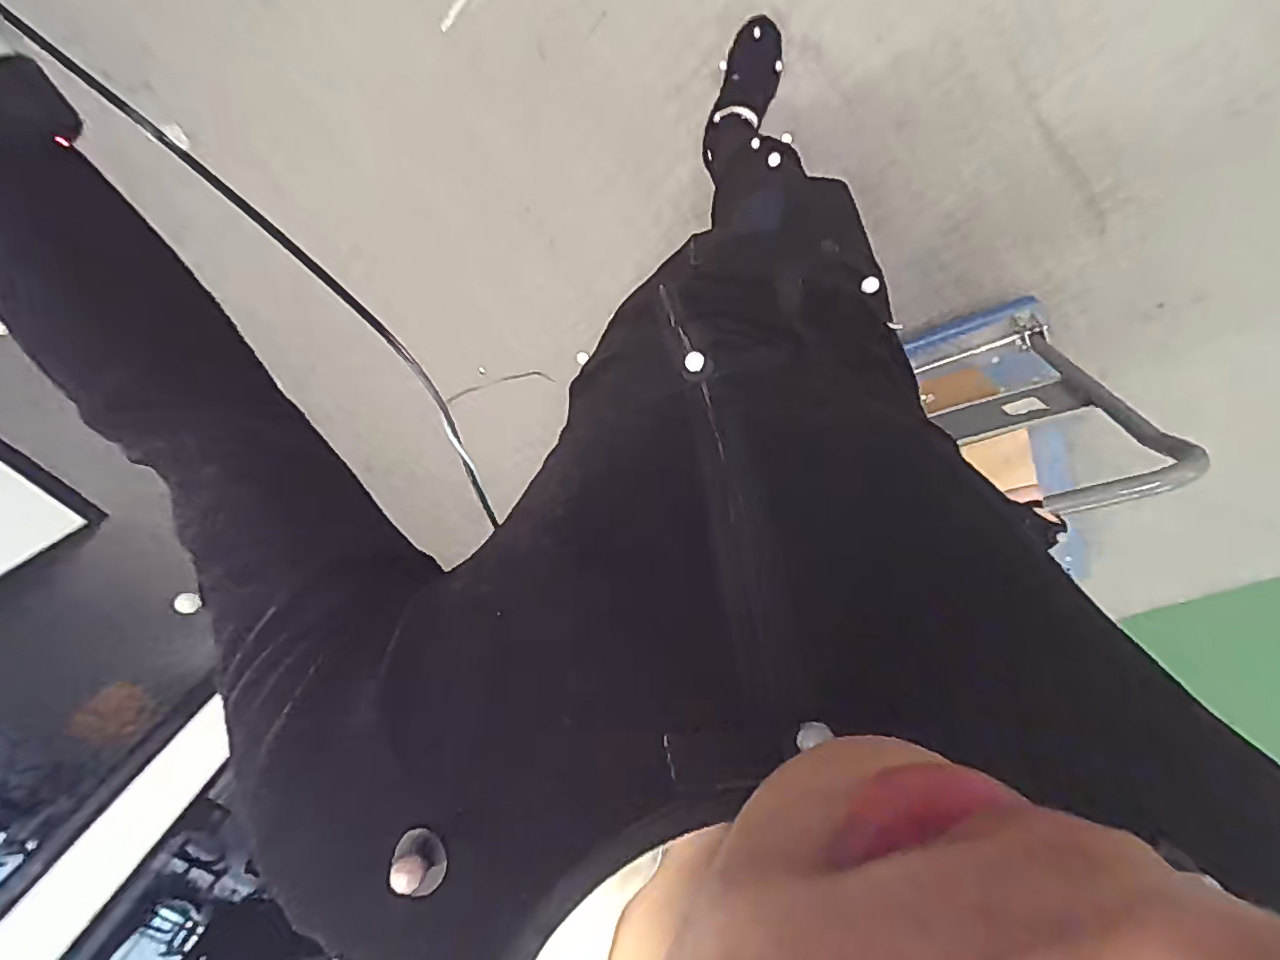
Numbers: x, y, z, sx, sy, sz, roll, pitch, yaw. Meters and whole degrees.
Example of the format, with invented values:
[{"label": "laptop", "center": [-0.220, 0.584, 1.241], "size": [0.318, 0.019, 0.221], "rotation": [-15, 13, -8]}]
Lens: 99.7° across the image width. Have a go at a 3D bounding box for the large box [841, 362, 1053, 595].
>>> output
[{"label": "large box", "center": [0.711, -0.002, 1.289], "size": [0.320, 0.320, 0.408], "rotation": [-19, 118, 25]}]
